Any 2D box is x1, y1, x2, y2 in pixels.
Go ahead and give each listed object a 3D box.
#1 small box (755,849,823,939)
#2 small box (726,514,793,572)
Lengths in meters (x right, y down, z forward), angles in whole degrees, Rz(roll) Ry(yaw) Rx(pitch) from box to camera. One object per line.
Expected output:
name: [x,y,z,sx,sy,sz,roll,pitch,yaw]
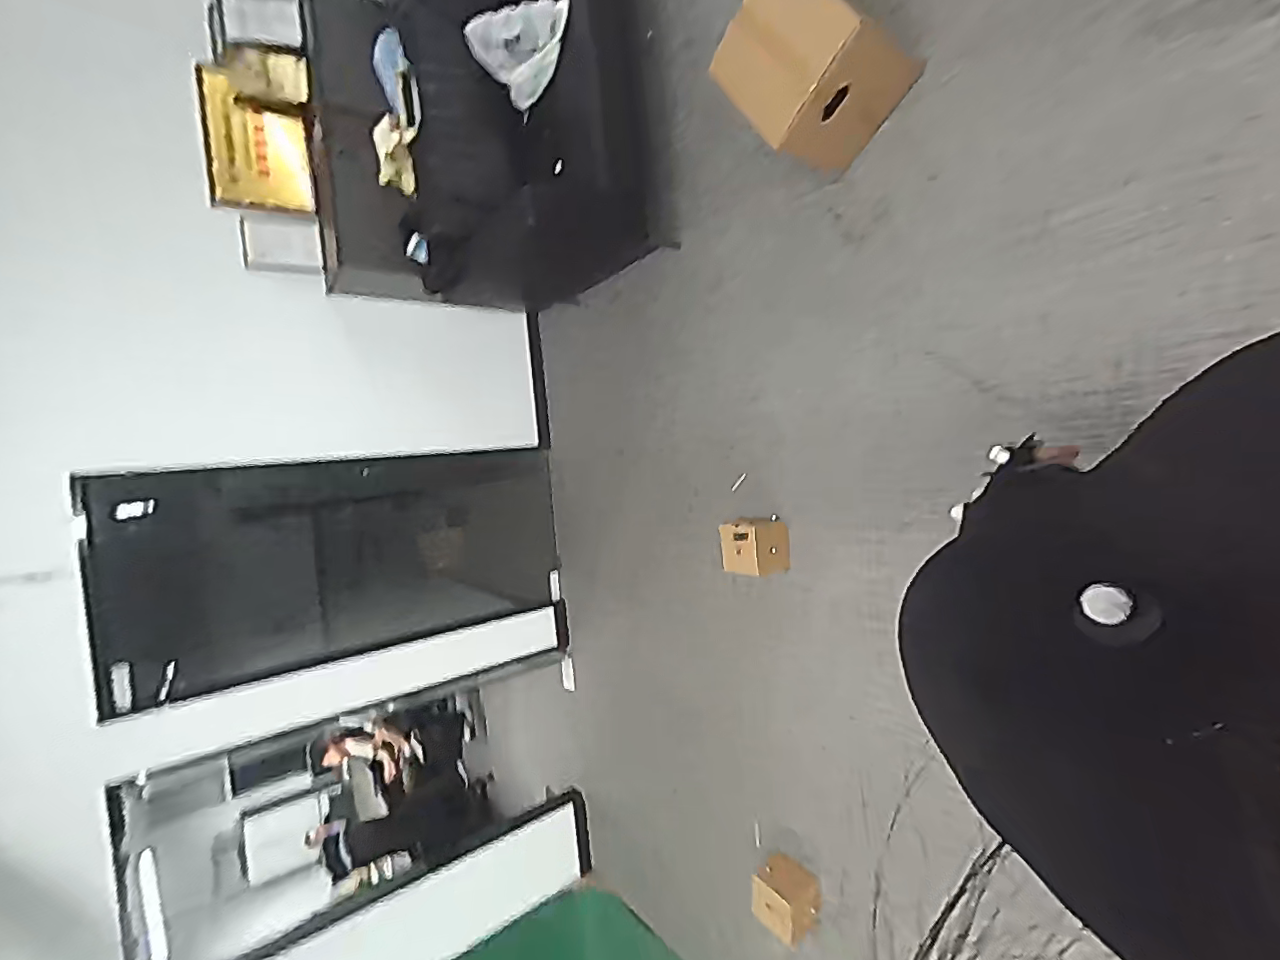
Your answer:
small box: [0.537,1.484,1.959,0.179,0.176,0.168,7,101,53]
small box: [0.427,0.218,1.925,0.168,0.176,0.179,0,96,53]
